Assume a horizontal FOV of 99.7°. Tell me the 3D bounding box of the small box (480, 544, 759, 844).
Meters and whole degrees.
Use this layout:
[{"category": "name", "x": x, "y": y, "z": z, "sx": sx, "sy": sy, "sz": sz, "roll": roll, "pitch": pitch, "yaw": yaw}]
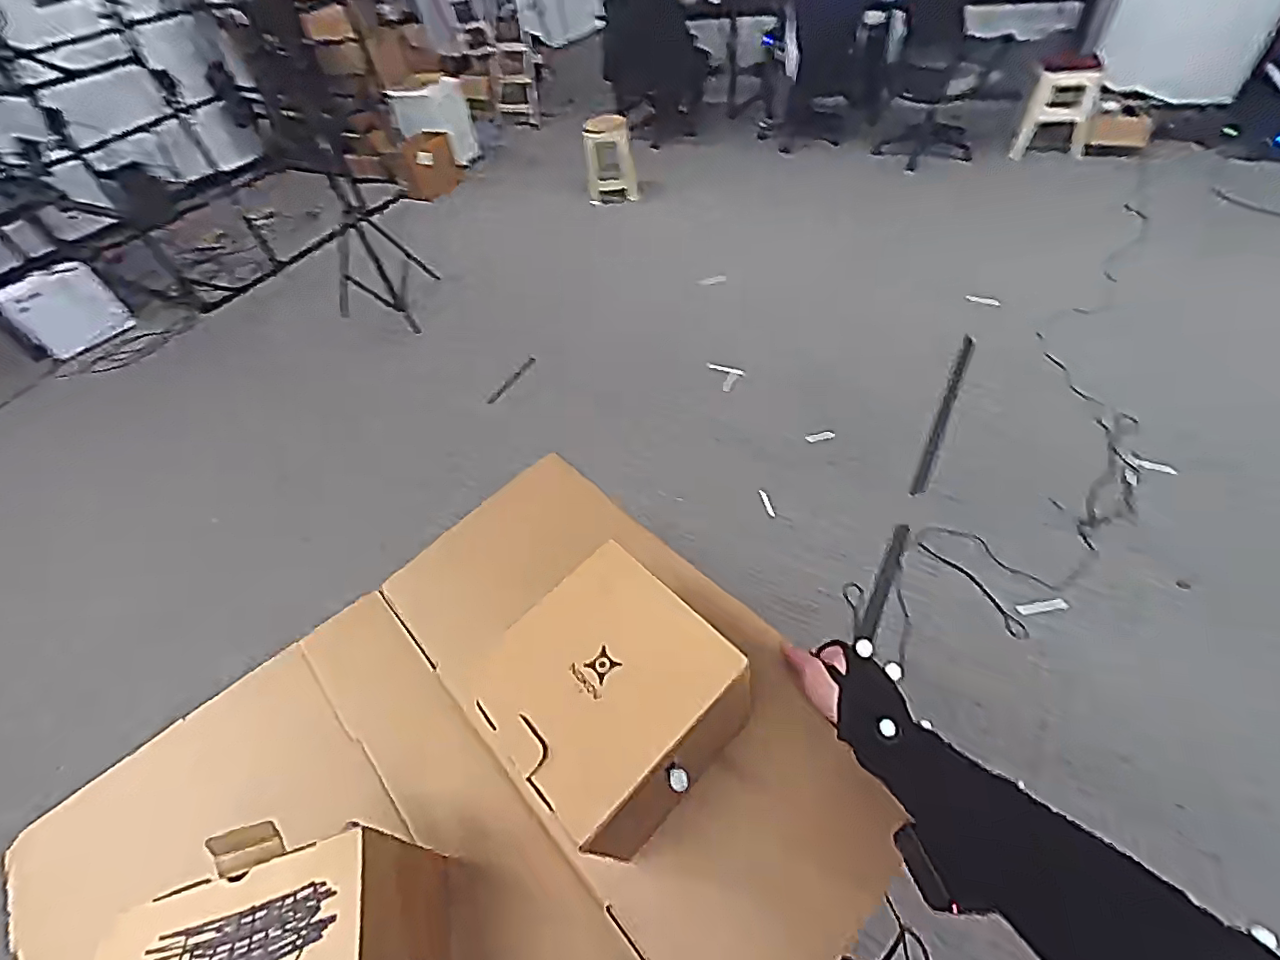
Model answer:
[{"category": "small box", "x": -0.010, "y": 0.200, "z": 0.505, "sx": 0.179, "sy": 0.176, "sz": 0.168, "roll": -41, "pitch": 56, "yaw": -18}]
